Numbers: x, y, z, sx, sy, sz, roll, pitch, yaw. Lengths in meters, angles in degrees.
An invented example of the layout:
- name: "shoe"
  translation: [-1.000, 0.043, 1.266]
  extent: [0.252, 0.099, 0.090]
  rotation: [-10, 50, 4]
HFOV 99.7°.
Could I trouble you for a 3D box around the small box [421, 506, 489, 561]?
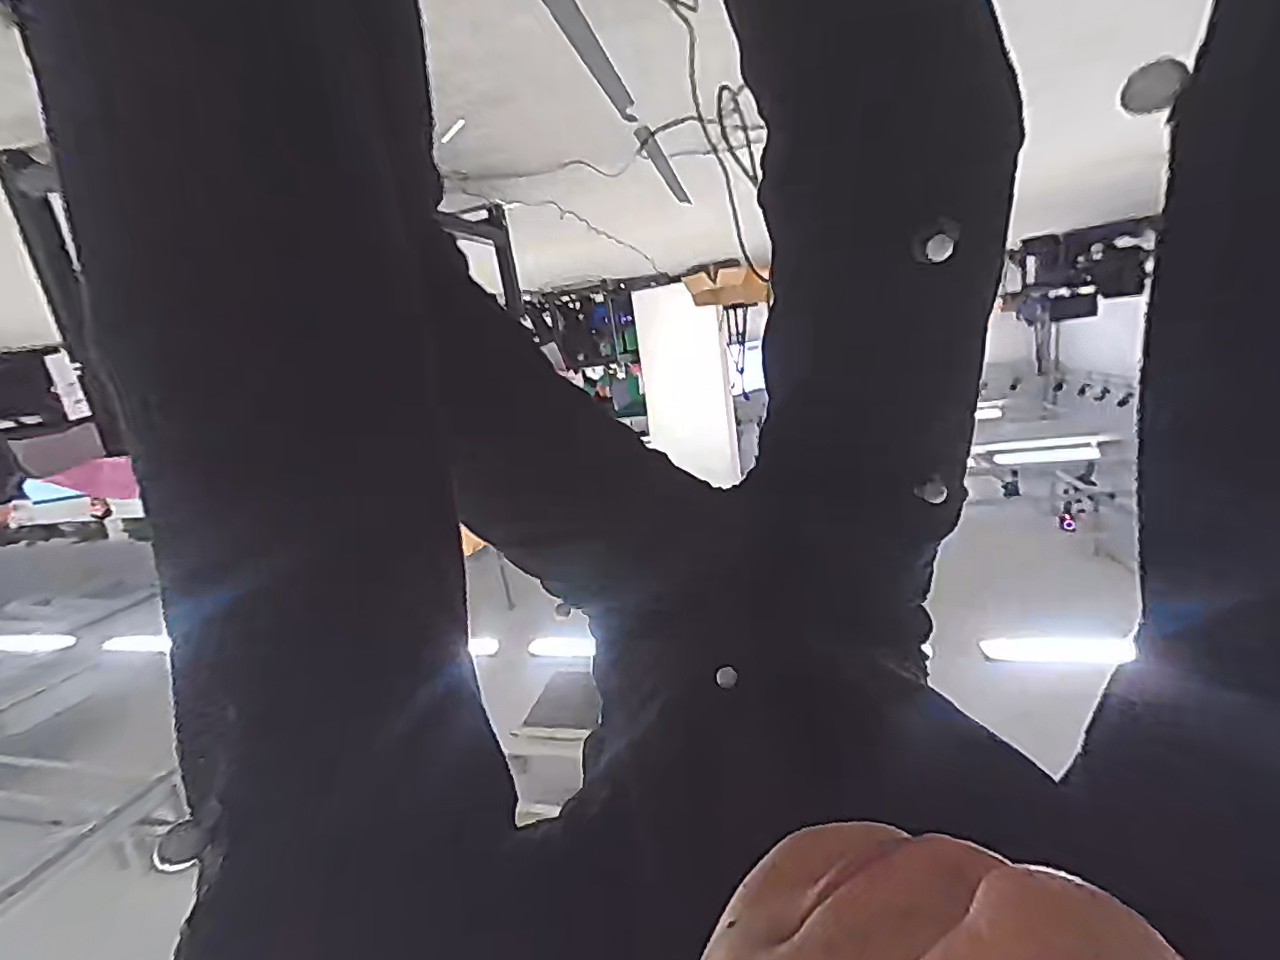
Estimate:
- name: "small box"
  translation: [-0.704, 0.197, 2.050]
  extent: [0.179, 0.176, 0.168]
  rotation: [-3, -165, 23]
